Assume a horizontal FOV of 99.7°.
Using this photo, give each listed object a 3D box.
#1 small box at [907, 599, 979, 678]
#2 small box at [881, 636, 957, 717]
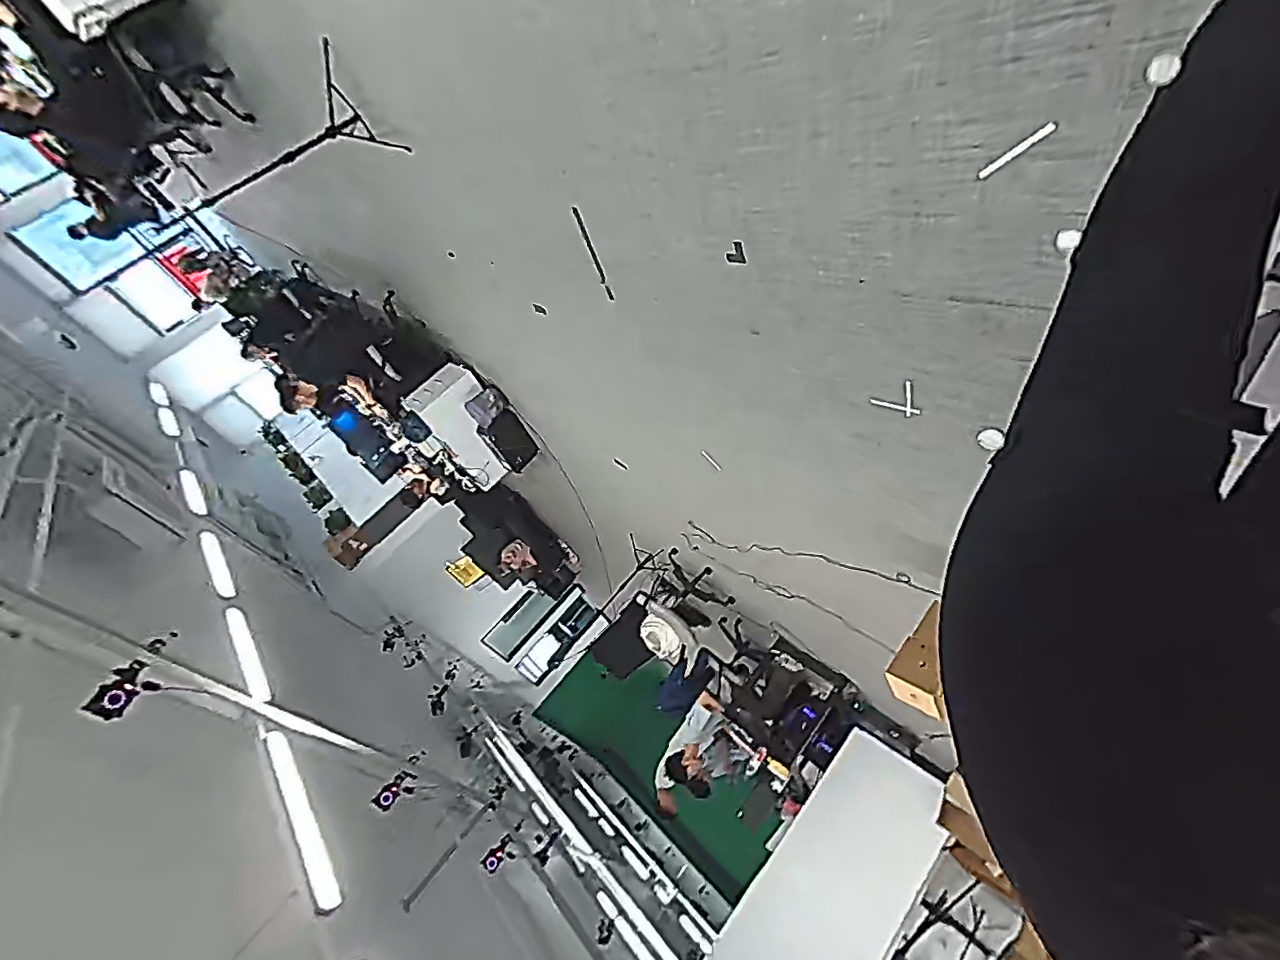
[{"bbox_3d":[1.075,0.556,1.909,0.168,0.176,0.179,21,150,48],"label":"small box"},{"bbox_3d":[0.965,0.671,1.866,0.168,0.176,0.179,19,150,51],"label":"small box"}]
